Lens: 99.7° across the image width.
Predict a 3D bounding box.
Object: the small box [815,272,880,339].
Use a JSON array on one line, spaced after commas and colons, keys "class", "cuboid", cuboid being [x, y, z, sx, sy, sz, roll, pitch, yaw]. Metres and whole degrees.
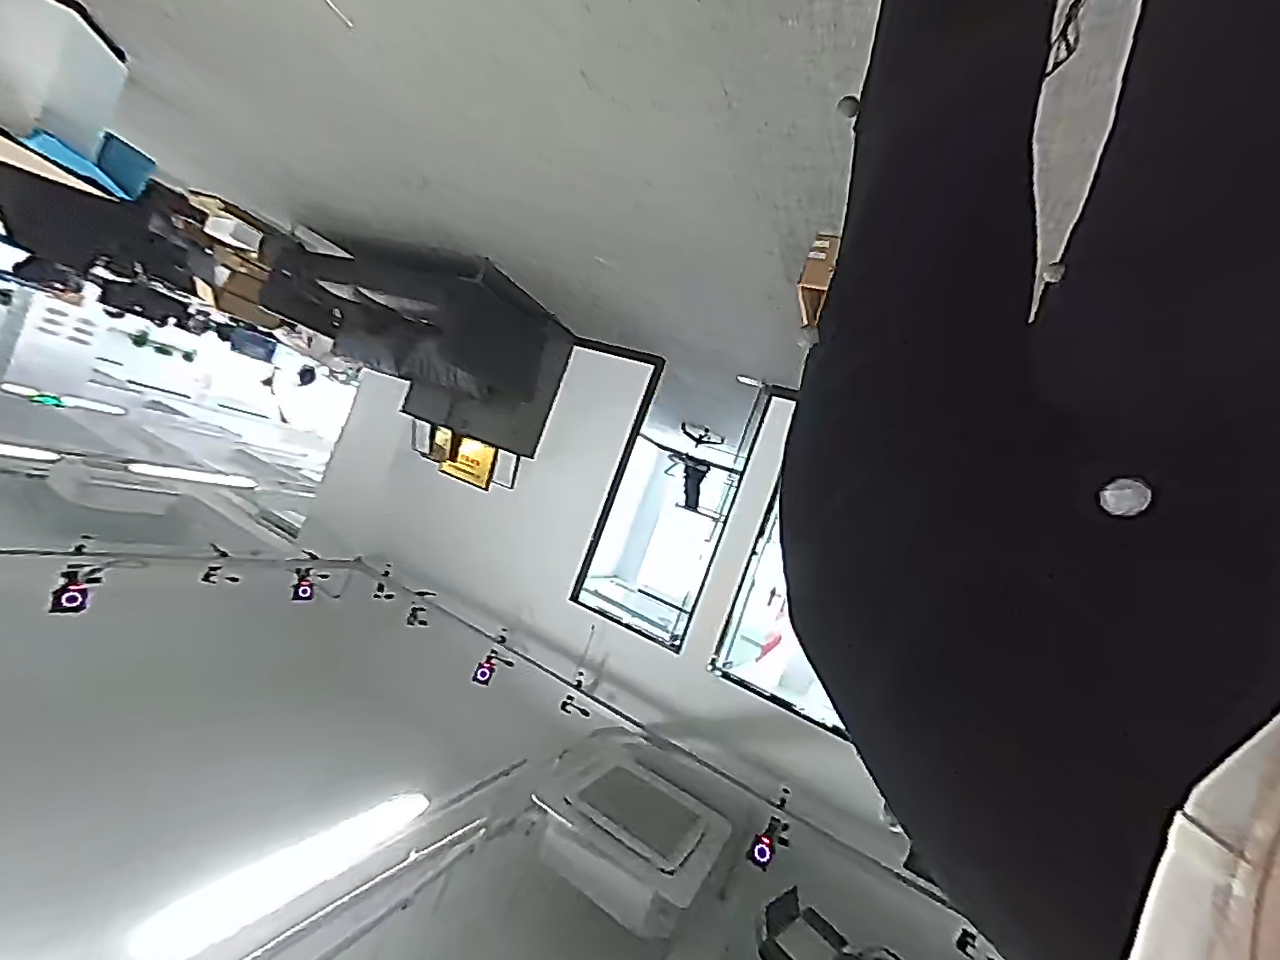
[{"class": "small box", "cuboid": [0.767, -0.646, 1.990, 0.179, 0.176, 0.168, 20, 178, 28]}]
